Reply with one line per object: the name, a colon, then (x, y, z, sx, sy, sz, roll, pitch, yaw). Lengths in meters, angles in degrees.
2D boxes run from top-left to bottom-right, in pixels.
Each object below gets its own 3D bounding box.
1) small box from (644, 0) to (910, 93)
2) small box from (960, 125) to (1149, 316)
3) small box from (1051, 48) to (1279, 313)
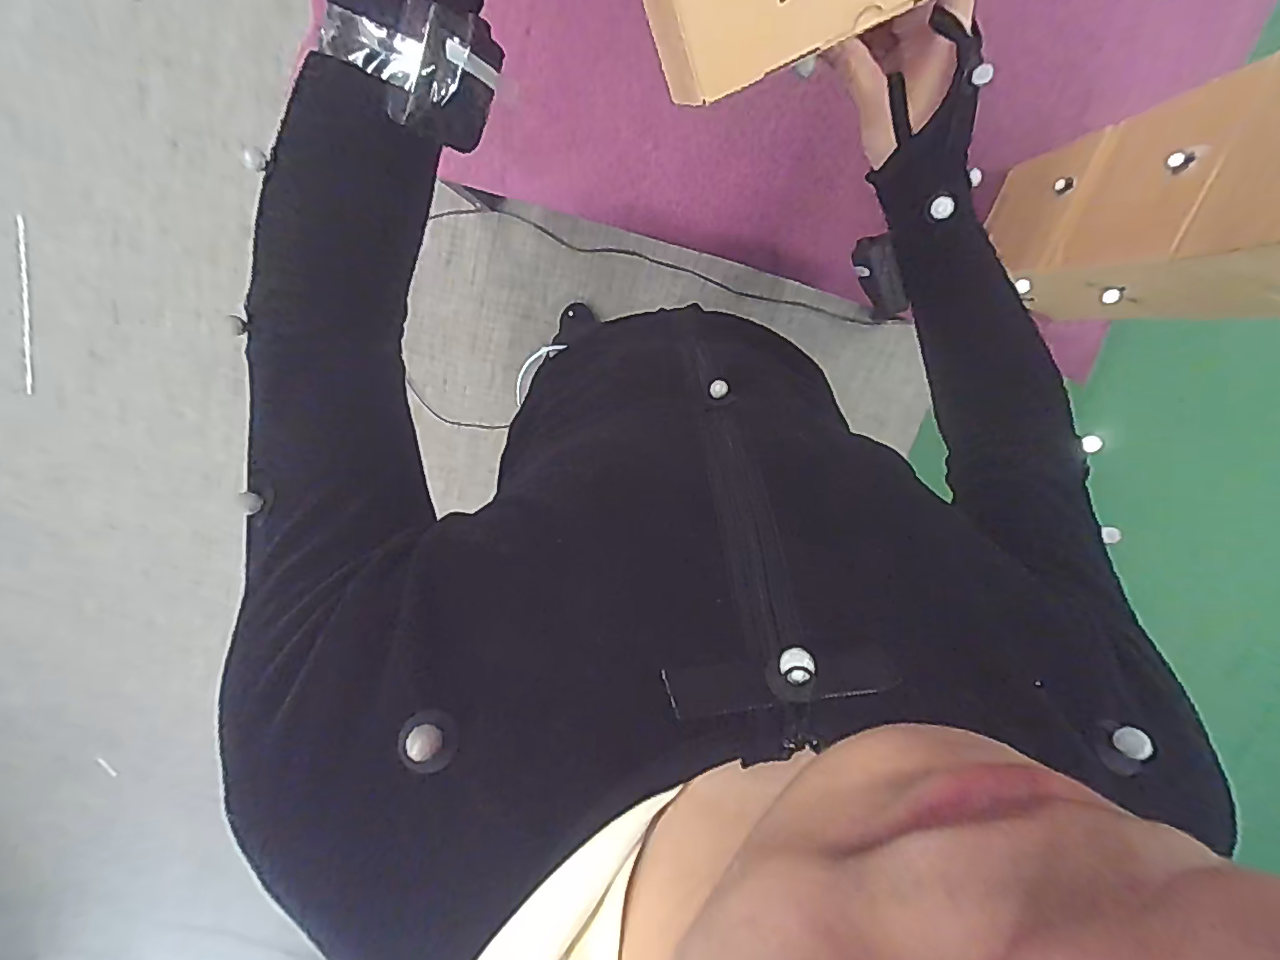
small box: (0.071, -0.328, 0.276, 0.168, 0.176, 0.179, -19, 124, 11)
small box: (0.584, -0.329, 0.723, 0.179, 0.176, 0.168, 18, 104, -7)
small box: (0.591, -0.288, 0.566, 0.168, 0.176, 0.179, 19, 105, -5)
